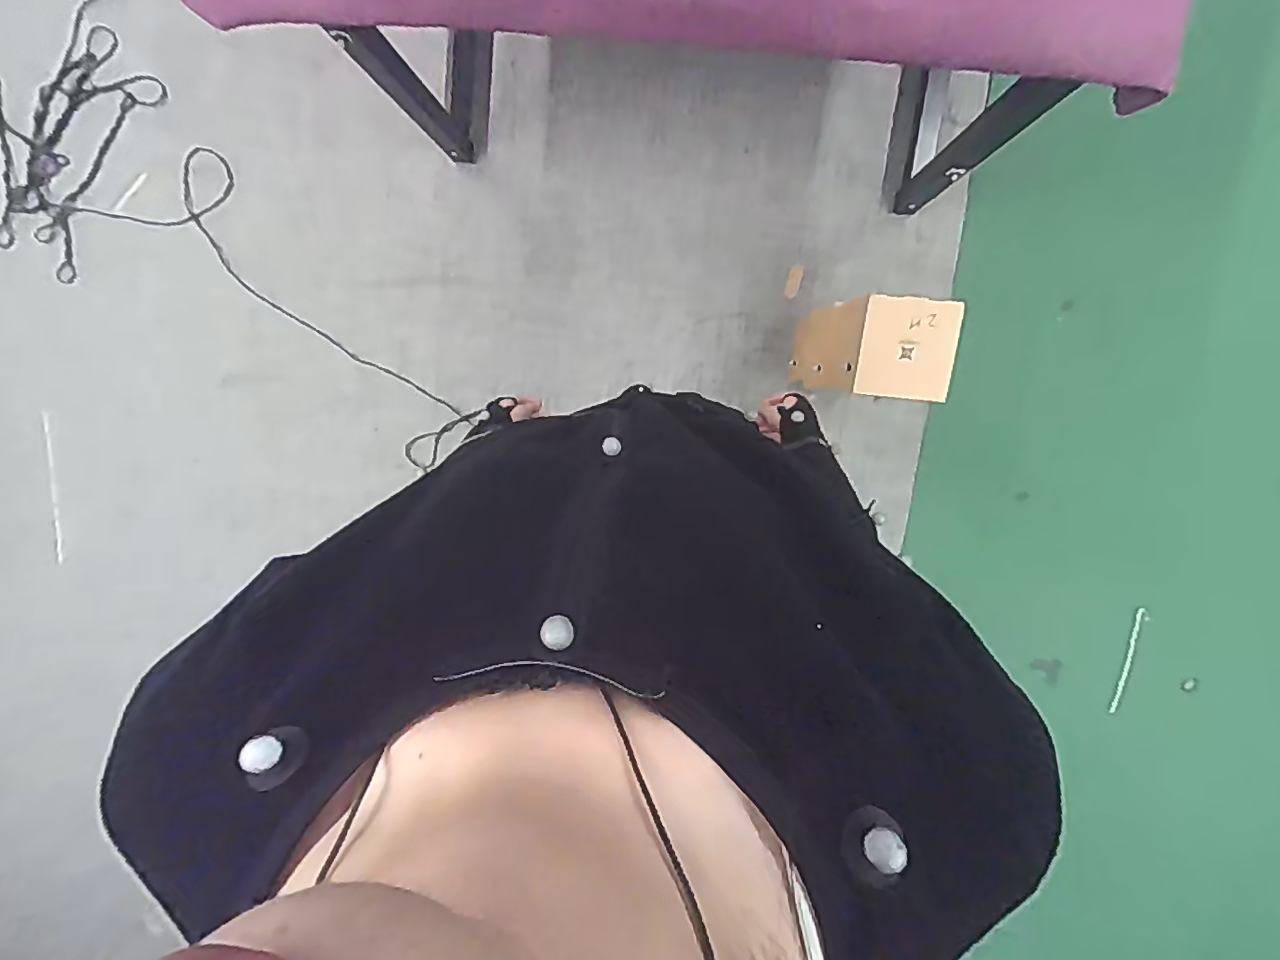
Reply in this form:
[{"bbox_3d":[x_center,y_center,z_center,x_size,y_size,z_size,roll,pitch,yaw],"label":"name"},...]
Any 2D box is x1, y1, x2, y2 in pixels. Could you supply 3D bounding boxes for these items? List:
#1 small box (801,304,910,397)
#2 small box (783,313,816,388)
[{"bbox_3d":[0.464,-0.281,1.191,0.168,0.176,0.179,6,101,2],"label":"small box"},{"bbox_3d":[0.469,-0.310,1.350,0.179,0.176,0.168,8,100,2],"label":"small box"}]
